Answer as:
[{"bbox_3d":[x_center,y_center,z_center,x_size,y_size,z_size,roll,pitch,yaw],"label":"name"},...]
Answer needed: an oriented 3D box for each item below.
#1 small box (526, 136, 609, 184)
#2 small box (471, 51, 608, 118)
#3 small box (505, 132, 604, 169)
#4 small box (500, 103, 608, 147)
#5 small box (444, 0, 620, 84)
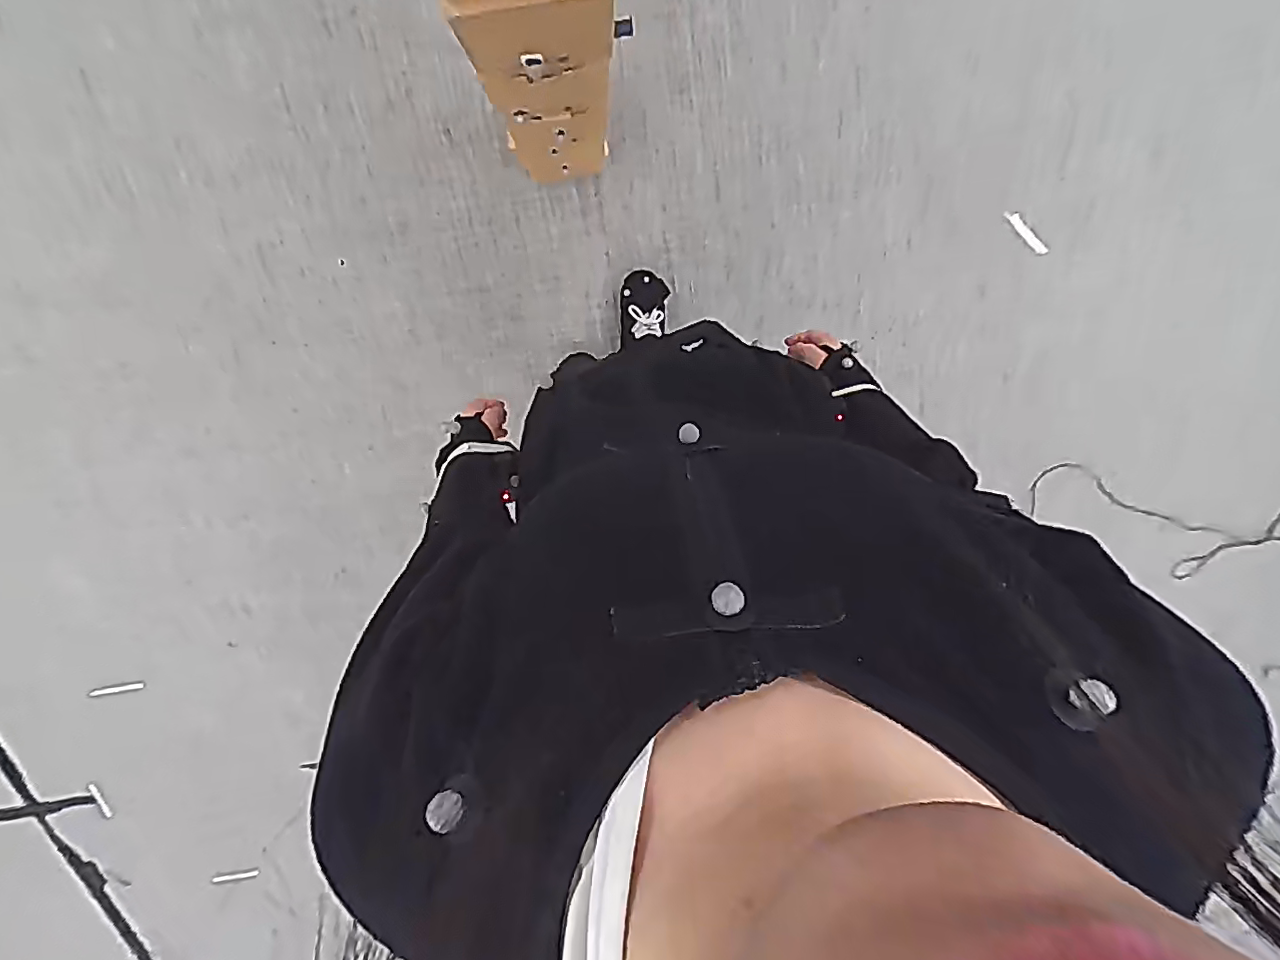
[{"bbox_3d":[-0.168,-0.754,1.170,0.179,0.176,0.168,-9,109,-2],"label":"small box"},{"bbox_3d":[-0.132,-0.598,0.706,0.168,0.176,0.179,-8,108,-2],"label":"small box"},{"bbox_3d":[-0.162,-0.697,1.016,0.179,0.176,0.168,-6,110,-2],"label":"small box"},{"bbox_3d":[-0.141,-0.649,0.862,0.168,0.176,0.179,-7,110,-2],"label":"small box"},{"bbox_3d":[-0.117,-0.546,0.553,0.168,0.176,0.179,-9,110,0],"label":"small box"}]
